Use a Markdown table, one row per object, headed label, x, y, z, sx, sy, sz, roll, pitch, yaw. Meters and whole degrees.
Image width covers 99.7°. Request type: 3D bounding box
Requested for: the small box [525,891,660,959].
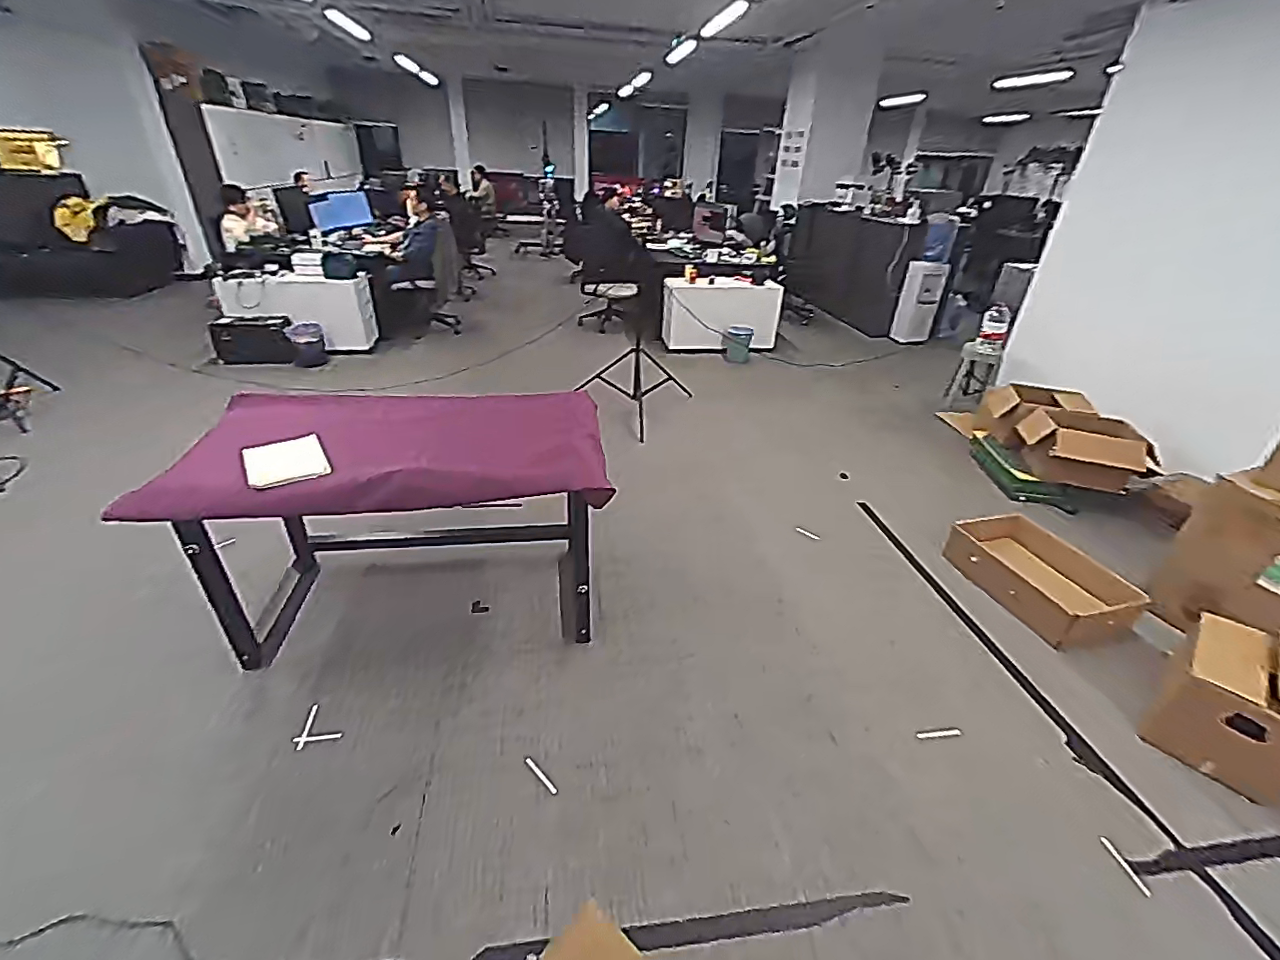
| label | x | y | z | sx | sy | sz | roll | pitch | yaw |
| --- | --- | --- | --- | --- | --- | --- | --- | --- | --- |
| small box | -0.044 | 0.527 | 0.509 | 0.179 | 0.176 | 0.168 | 38 | 60 | 19 |
